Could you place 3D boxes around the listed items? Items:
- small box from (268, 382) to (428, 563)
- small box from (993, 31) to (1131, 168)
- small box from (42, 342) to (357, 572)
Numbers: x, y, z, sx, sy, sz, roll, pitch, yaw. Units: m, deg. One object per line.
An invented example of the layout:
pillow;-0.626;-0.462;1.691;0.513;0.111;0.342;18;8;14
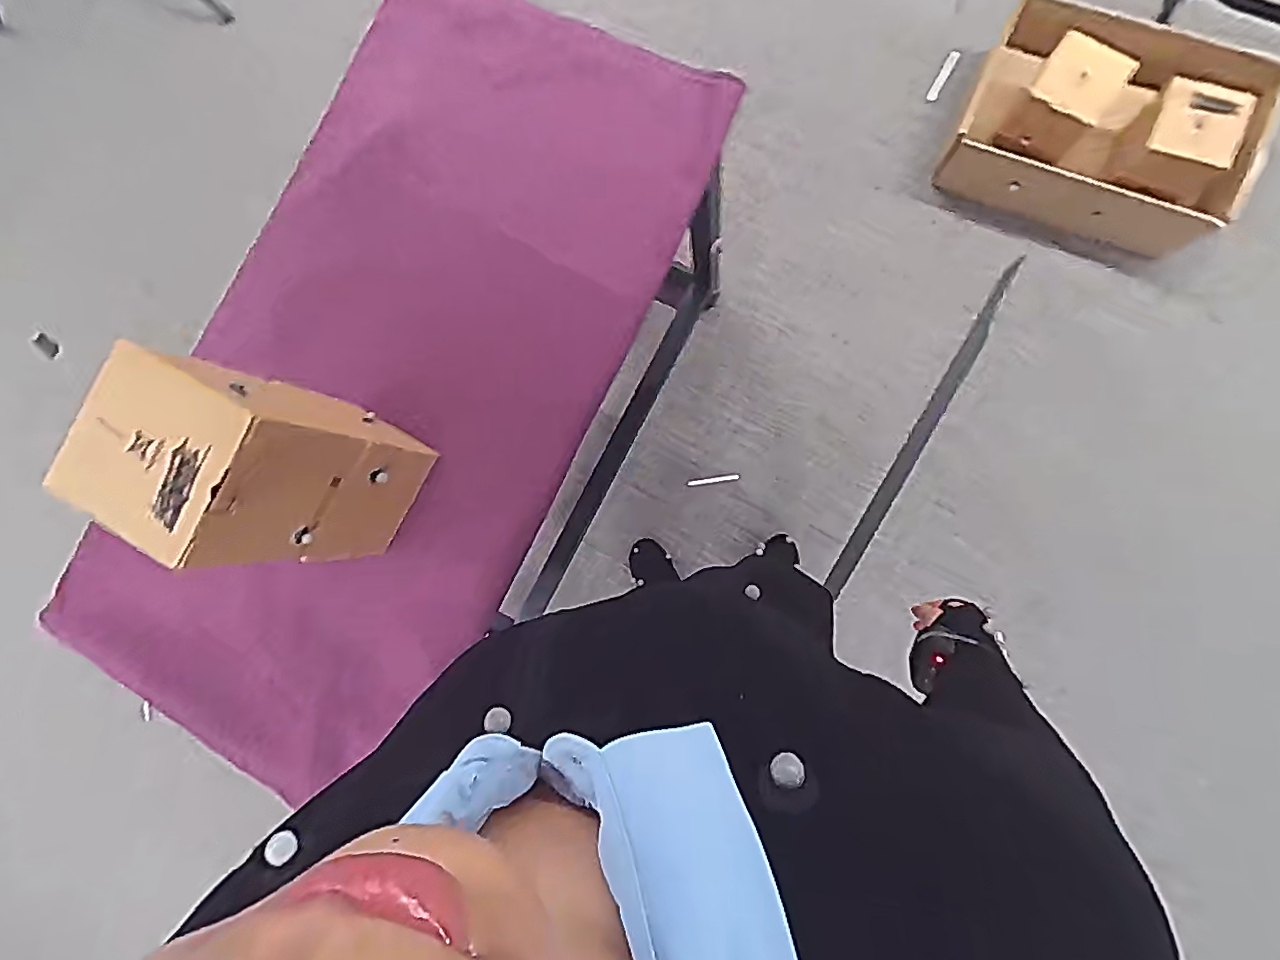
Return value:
small box;-0.427;-0.006;0.750;0.168;0.176;0.179;29;91;9
small box;1.005;-0.910;1.309;0.168;0.176;0.179;34;91;6
small box;-0.455;-0.020;0.589;0.179;0.176;0.168;27;90;9
